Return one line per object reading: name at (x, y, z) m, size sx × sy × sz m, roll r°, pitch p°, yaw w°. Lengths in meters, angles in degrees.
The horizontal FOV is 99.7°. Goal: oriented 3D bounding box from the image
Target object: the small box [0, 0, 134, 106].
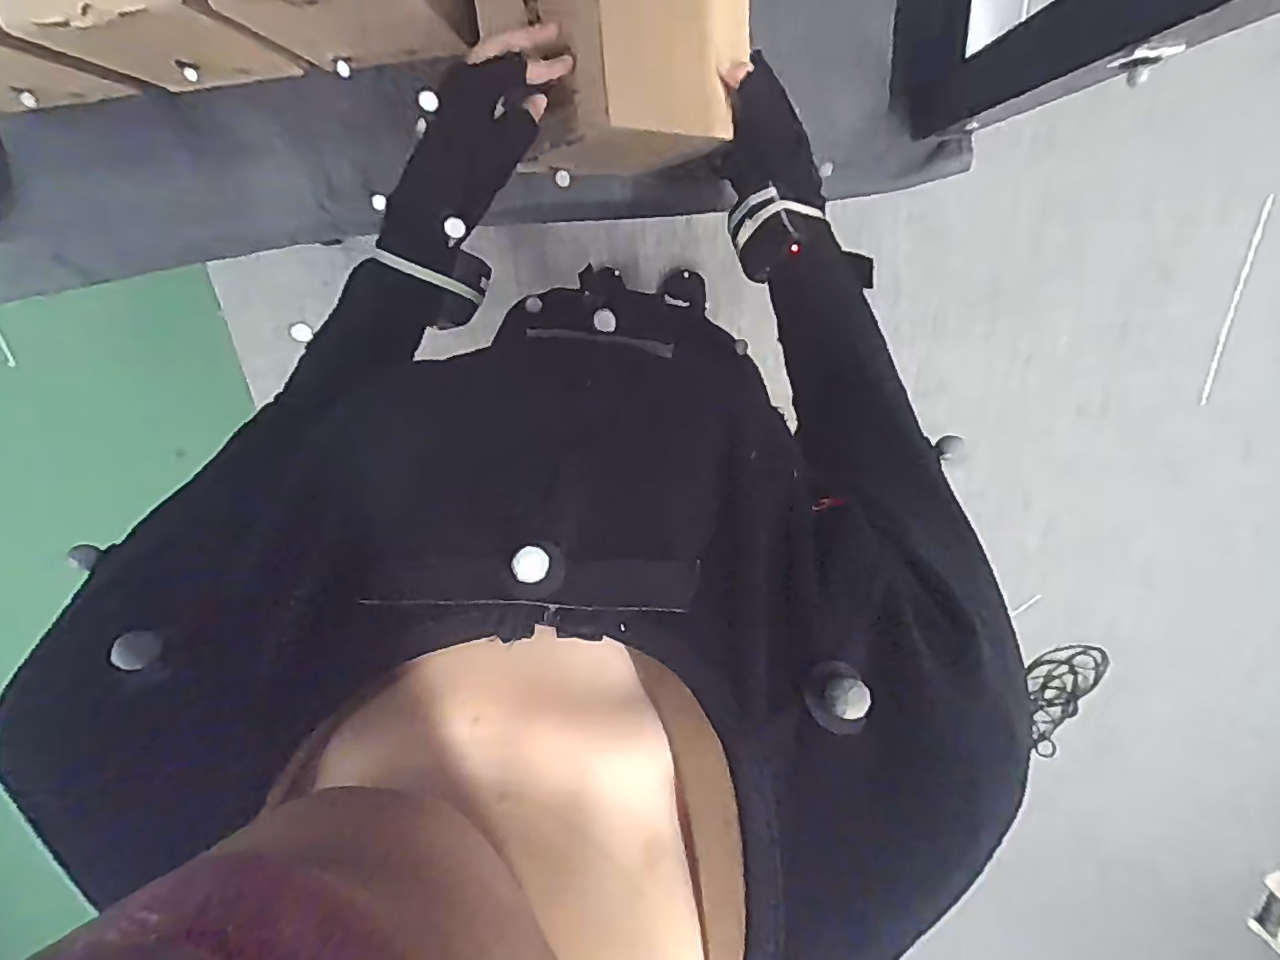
small box at (-0.642, -0.476, 0.497) m, size 0.168 × 0.176 × 0.179 m, roll -4°, pitch 112°, yaw 5°
